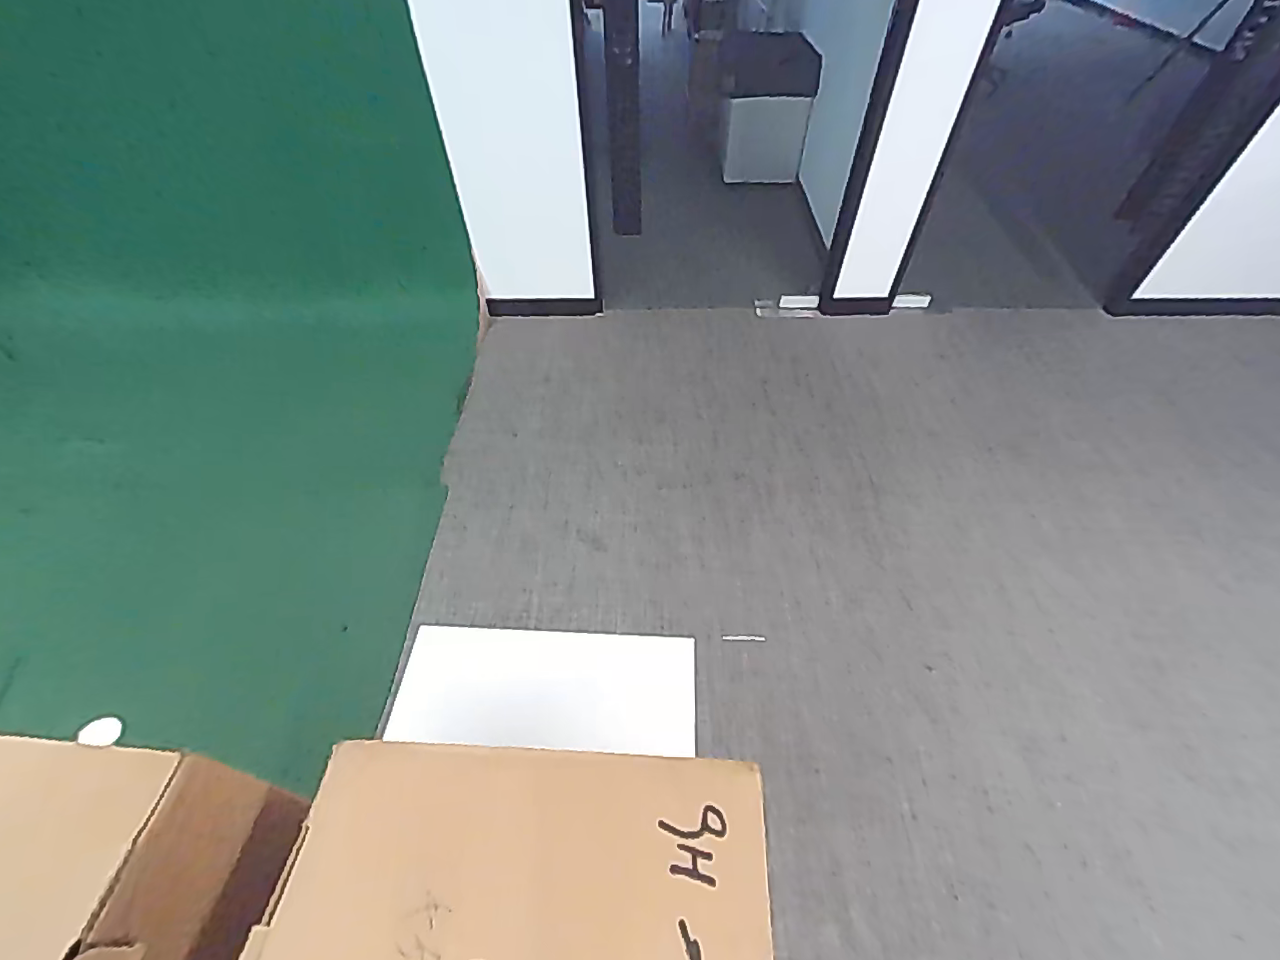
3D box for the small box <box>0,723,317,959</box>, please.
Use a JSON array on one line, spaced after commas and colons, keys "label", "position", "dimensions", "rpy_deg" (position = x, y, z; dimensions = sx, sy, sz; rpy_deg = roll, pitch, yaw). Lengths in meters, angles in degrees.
[{"label": "small box", "position": [-0.277, 0.219, 0.240], "dimensions": [0.179, 0.176, 0.168], "rpy_deg": [4, 50, 2]}]
